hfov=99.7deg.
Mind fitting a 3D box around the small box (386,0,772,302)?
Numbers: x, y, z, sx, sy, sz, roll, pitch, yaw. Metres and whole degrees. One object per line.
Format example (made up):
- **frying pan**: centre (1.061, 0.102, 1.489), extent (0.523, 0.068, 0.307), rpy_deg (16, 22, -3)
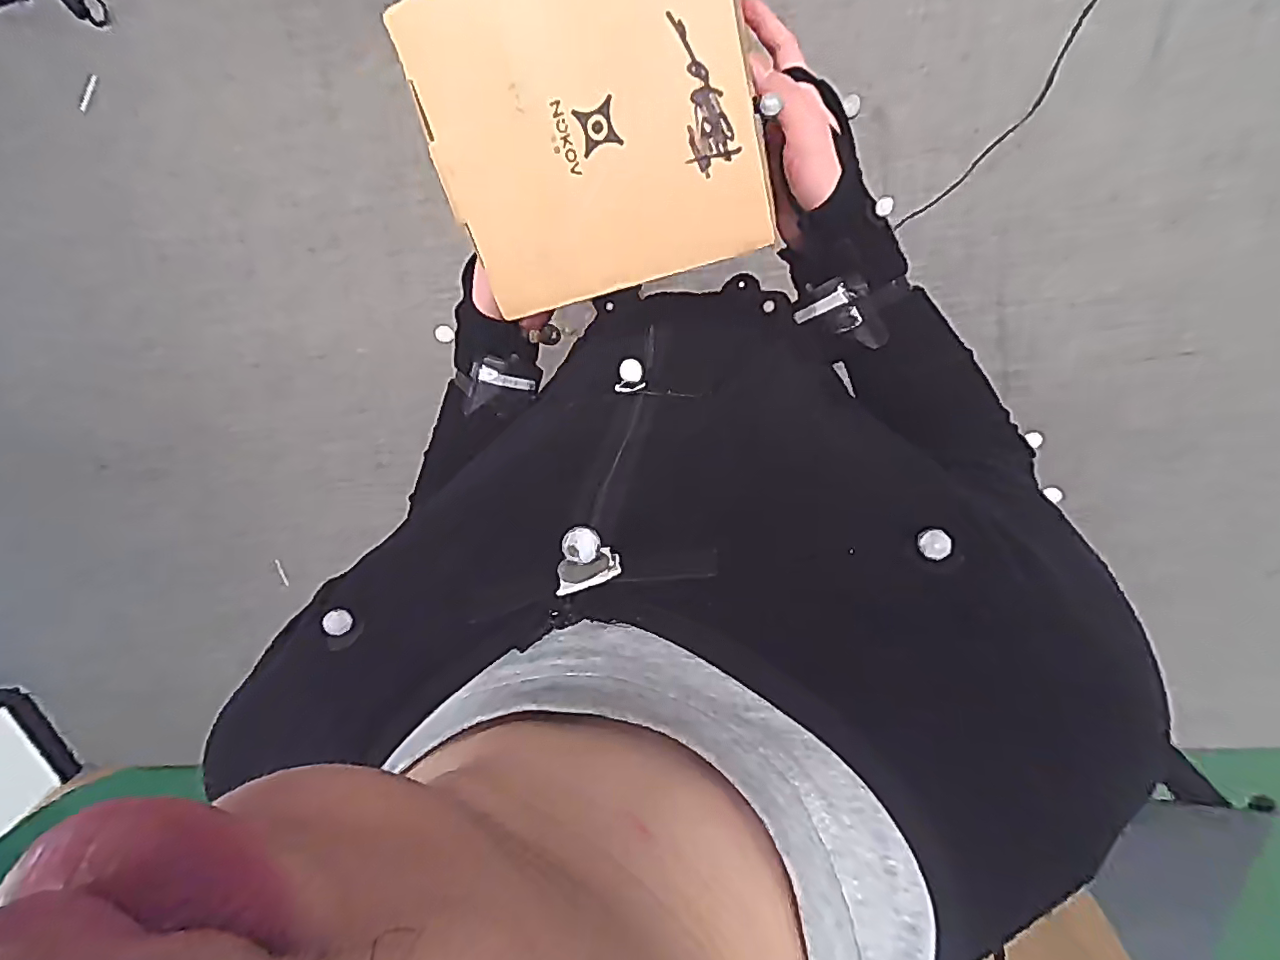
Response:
- **small box**: centre (-0.015, -0.231, 0.356), extent (0.179, 0.176, 0.168), rpy_deg (-7, 117, 19)
